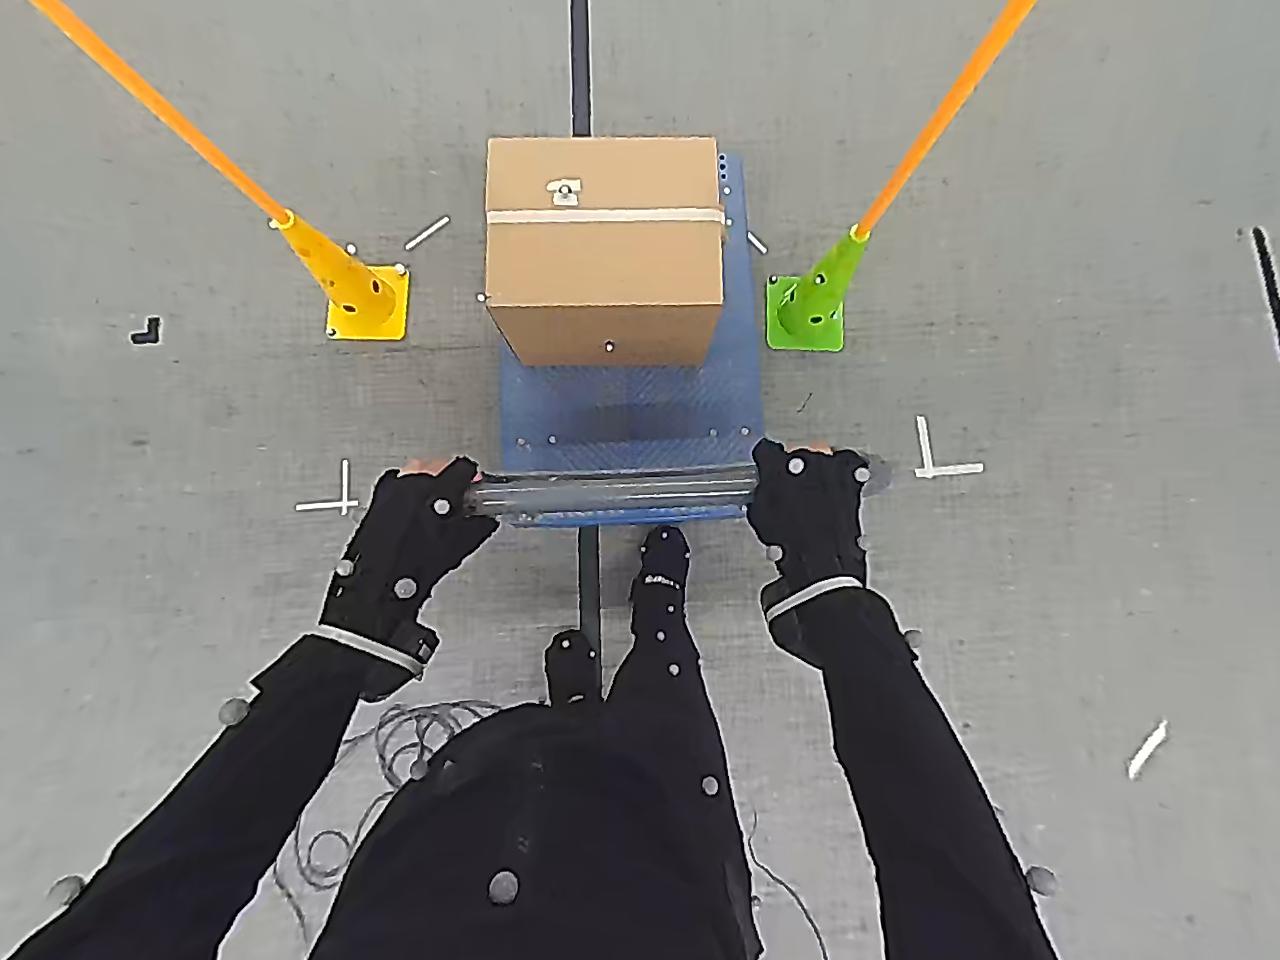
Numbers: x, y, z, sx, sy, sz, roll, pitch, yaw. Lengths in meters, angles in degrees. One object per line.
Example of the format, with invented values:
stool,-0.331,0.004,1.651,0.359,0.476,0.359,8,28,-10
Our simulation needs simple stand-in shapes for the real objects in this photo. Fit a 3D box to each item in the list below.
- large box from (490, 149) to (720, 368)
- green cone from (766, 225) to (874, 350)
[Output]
large box,-0.062,-0.420,1.095,0.408,0.320,0.320,0,83,0
green cone,0.436,-0.461,1.250,0.202,0.368,0.200,2,82,-2
